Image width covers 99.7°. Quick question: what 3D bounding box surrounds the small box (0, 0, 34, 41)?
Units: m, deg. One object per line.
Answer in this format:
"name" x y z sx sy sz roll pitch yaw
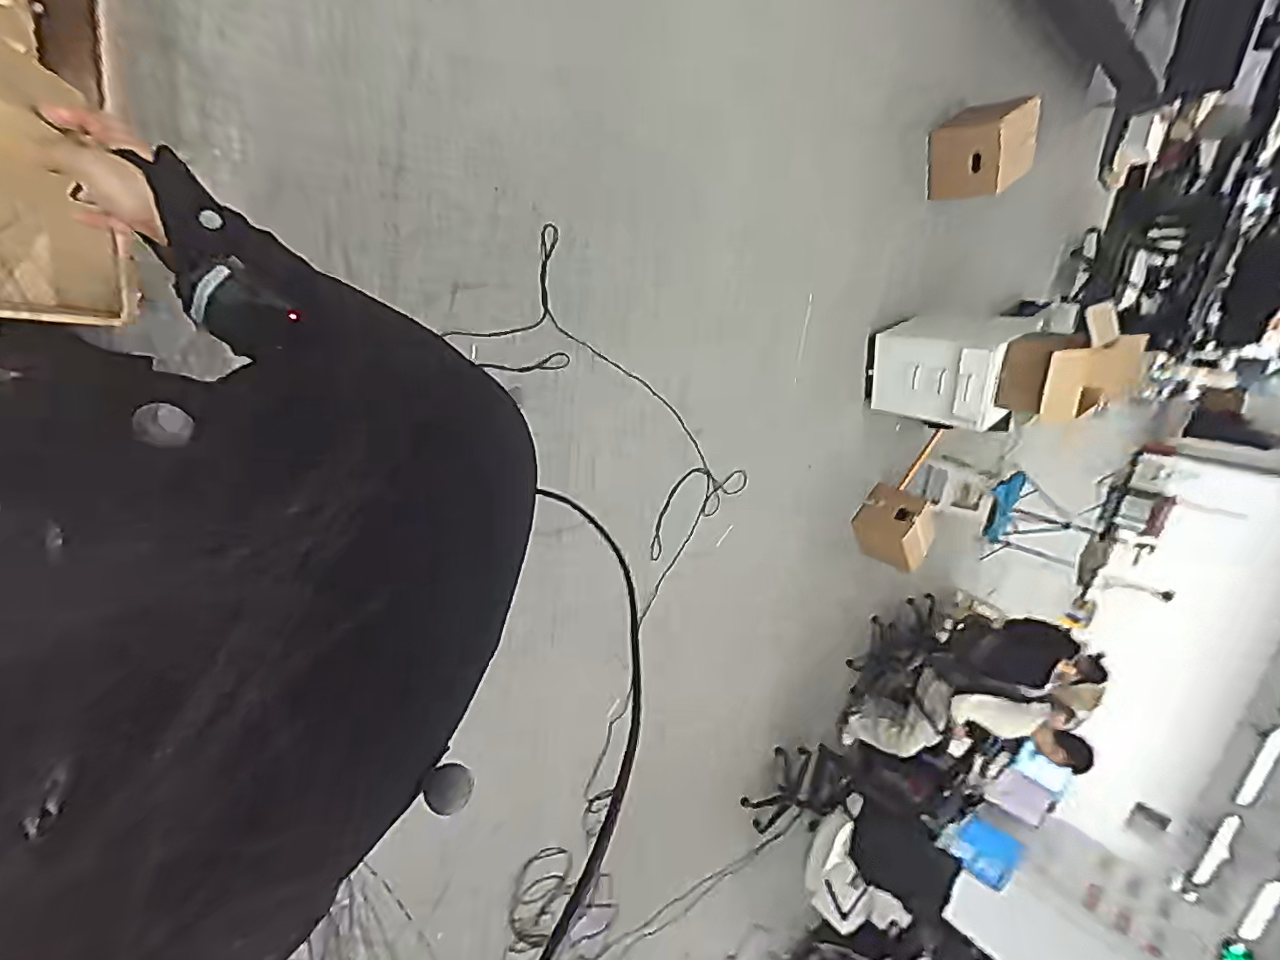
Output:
"small box" -0.826 -0.633 0.601 0.179 0.176 0.168 -6 112 -41

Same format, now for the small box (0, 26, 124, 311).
"small box" -0.543 -0.268 0.399 0.168 0.176 0.179 -45 150 7
